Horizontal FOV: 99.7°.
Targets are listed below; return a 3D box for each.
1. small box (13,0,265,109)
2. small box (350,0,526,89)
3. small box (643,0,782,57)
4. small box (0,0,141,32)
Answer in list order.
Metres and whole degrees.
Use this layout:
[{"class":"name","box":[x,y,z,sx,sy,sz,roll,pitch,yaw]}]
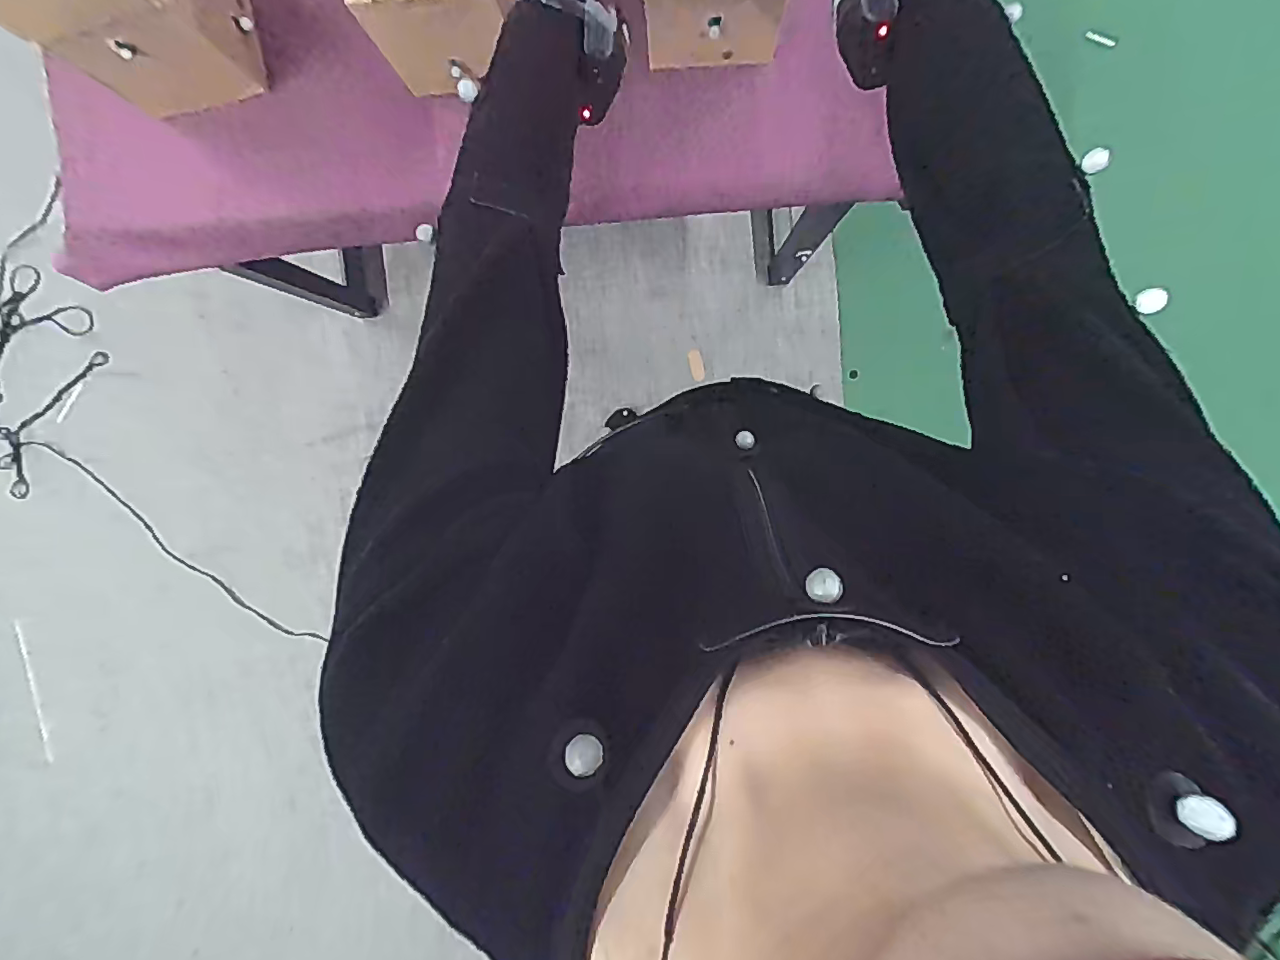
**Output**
[{"class":"small box","box":[-0.618,-0.598,0.667,0.179,0.176,0.168,-9,96,3]},{"class":"small box","box":[-0.240,-0.614,0.646,0.168,0.176,0.179,-3,96,3]},{"class":"small box","box":[0.085,-0.632,0.629,0.168,0.176,0.179,-1,96,3]},{"class":"small box","box":[-0.619,-0.578,0.507,0.179,0.176,0.168,-11,96,4]}]
